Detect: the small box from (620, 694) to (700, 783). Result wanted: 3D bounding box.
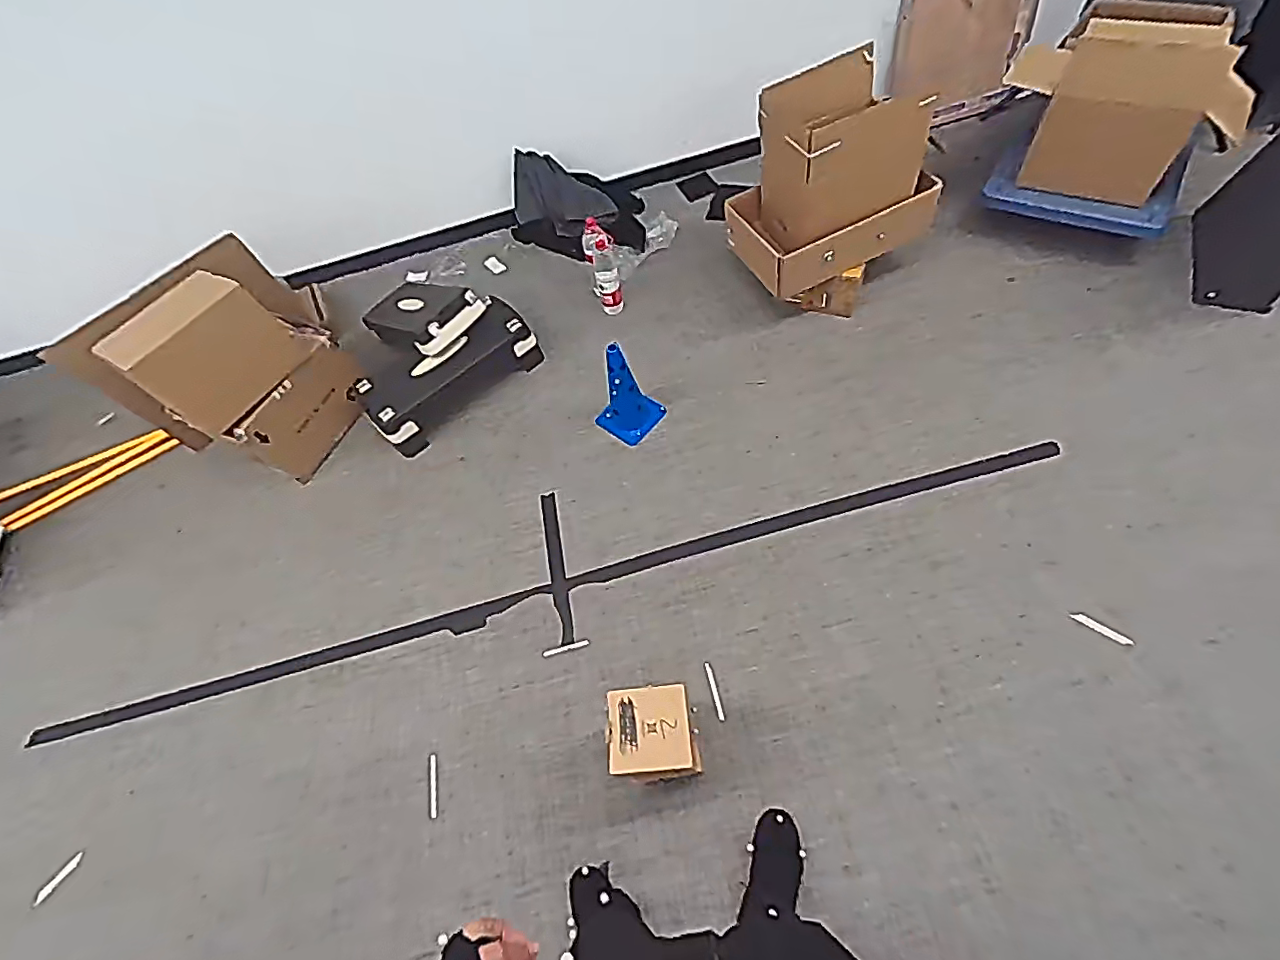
[{"bbox_3d":[0.052,0.651,1.356,0.168,0.176,0.179,-12,59,3],"label":"small box"}]
